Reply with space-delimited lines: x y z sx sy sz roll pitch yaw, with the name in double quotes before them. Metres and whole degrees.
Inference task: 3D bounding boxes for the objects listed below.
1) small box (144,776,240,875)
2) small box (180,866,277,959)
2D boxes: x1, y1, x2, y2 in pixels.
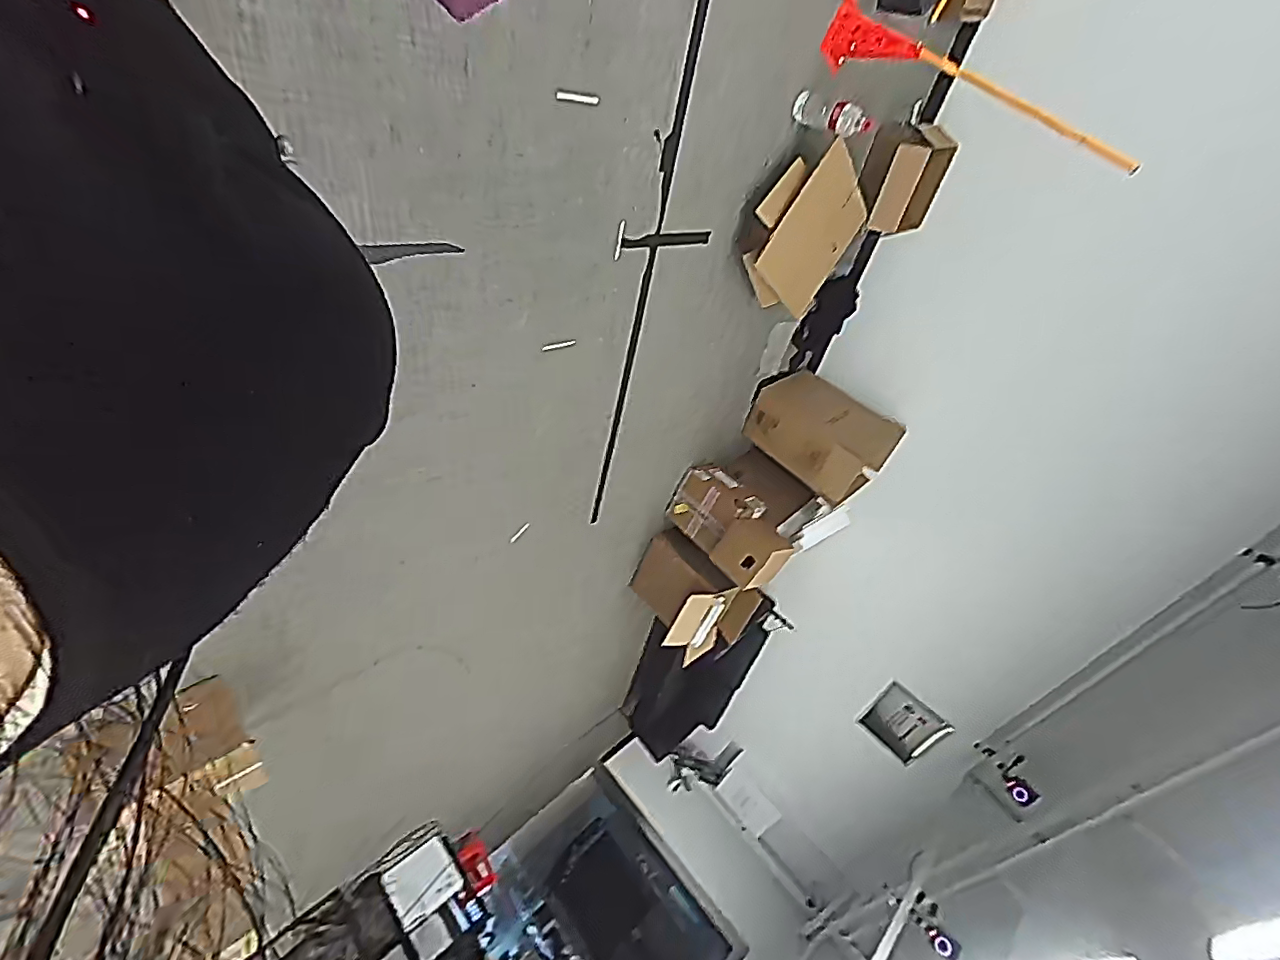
"small box" -1.393 1.069 1.684 0.179 0.176 0.168 -25 142 -38
"small box" -1.169 1.257 1.534 0.179 0.176 0.168 -23 142 -41
